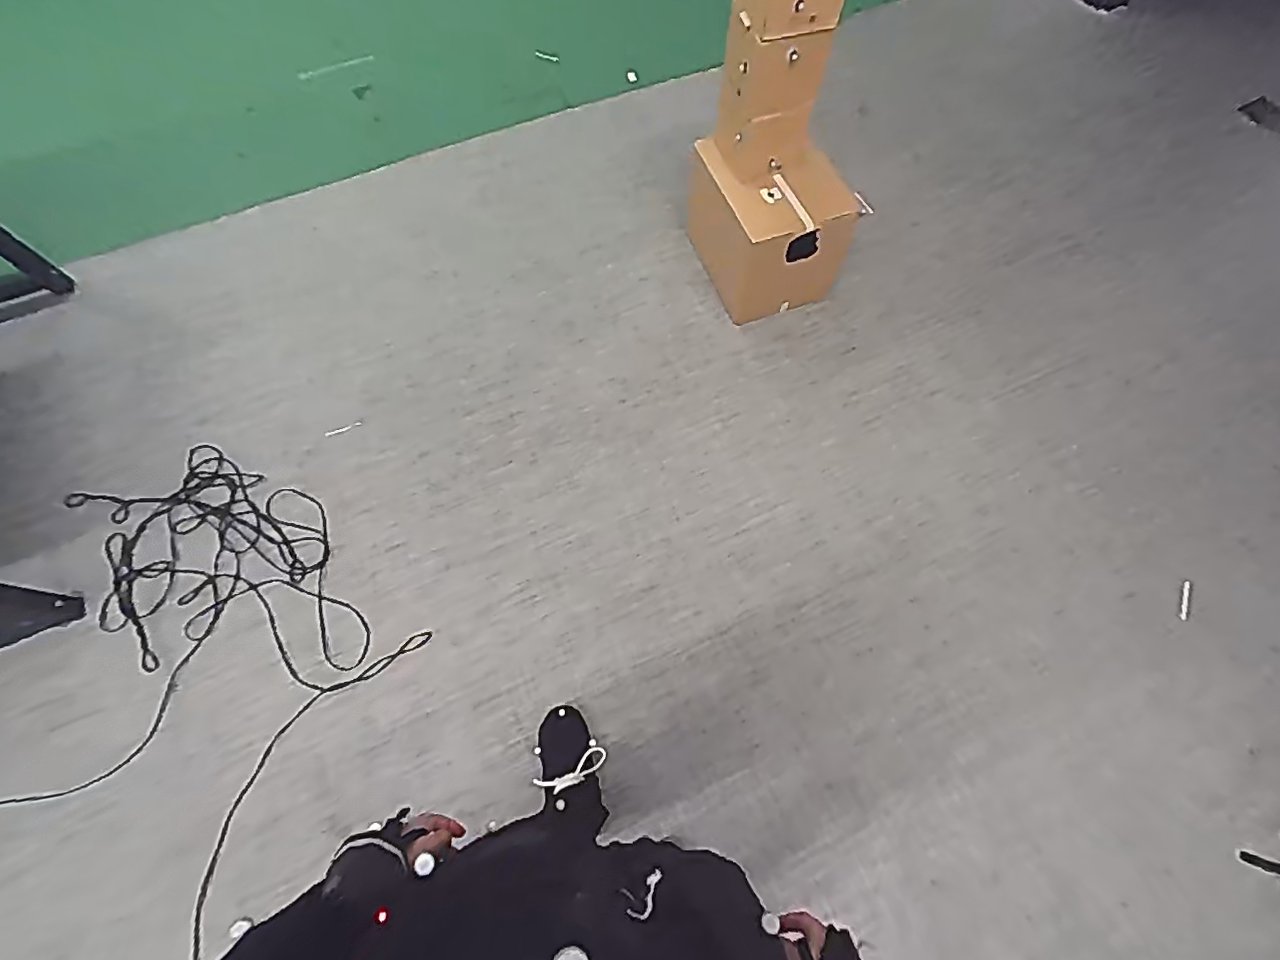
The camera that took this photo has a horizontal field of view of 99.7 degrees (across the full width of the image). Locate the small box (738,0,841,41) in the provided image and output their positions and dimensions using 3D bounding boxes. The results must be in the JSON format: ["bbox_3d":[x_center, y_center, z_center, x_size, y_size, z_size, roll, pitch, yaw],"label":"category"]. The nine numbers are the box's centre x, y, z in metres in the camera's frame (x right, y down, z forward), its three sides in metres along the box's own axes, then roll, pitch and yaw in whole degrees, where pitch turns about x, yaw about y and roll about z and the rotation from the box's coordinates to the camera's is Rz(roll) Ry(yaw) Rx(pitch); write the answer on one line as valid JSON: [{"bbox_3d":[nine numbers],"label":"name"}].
[{"bbox_3d":[0.300,-1.016,1.064,0.168,0.176,0.179,-15,70,-6],"label":"small box"}]

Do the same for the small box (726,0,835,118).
[{"bbox_3d":[0.301,-0.953,1.214,0.179,0.176,0.168,-16,70,-7],"label":"small box"}]

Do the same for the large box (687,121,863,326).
[{"bbox_3d":[0.358,-0.731,1.561,0.320,0.320,0.408,-20,69,-6],"label":"large box"}]
